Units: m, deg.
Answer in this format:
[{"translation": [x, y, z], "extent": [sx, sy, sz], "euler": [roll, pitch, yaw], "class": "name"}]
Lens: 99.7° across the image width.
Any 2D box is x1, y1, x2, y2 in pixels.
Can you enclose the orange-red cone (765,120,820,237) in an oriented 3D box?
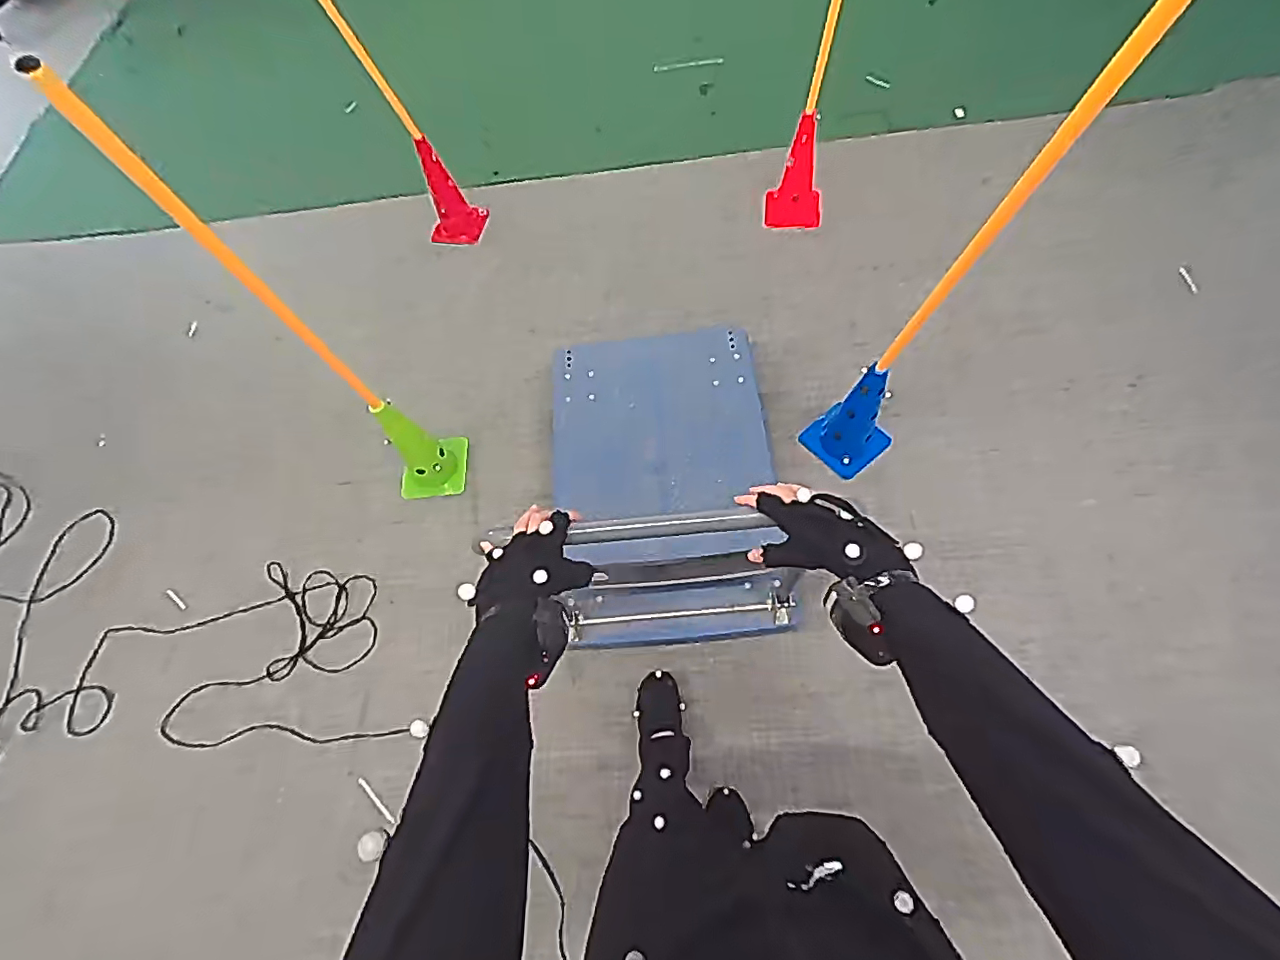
[{"translation": [0.554, -1.053, 1.870], "extent": [0.198, 0.360, 0.199], "euler": [5, 66, 9], "class": "orange-red cone"}]
